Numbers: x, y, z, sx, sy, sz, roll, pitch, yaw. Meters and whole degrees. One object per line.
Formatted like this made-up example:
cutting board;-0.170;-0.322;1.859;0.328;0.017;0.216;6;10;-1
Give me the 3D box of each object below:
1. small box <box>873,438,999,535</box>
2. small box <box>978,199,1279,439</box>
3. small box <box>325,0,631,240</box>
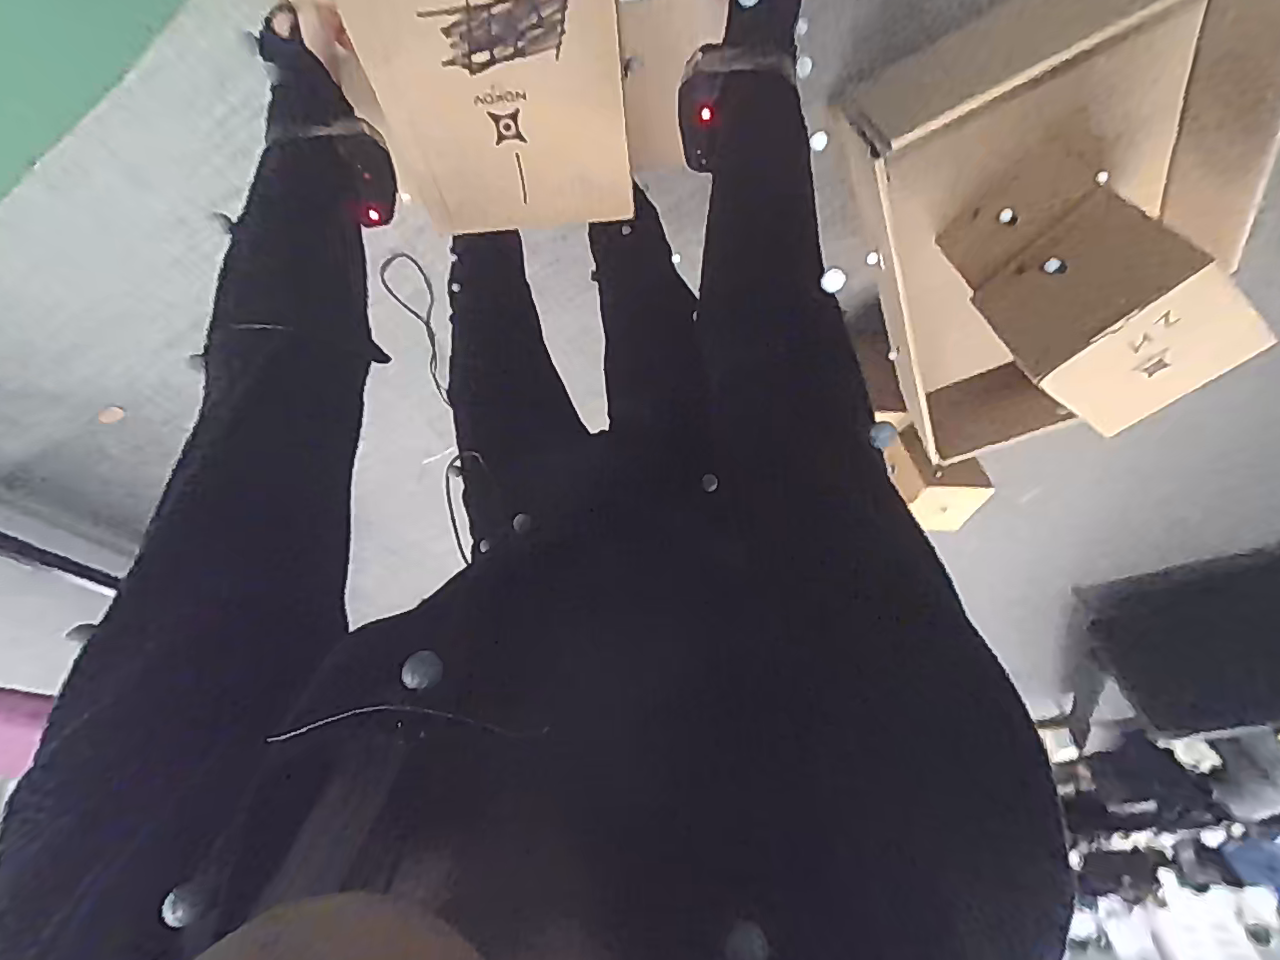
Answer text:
small box;0.690;0.015;1.284;0.179;0.176;0.168;1;140;-7
small box;0.539;-0.182;0.618;0.179;0.176;0.168;22;133;-25
small box;-0.098;-0.315;0.404;0.168;0.176;0.179;-4;150;3
